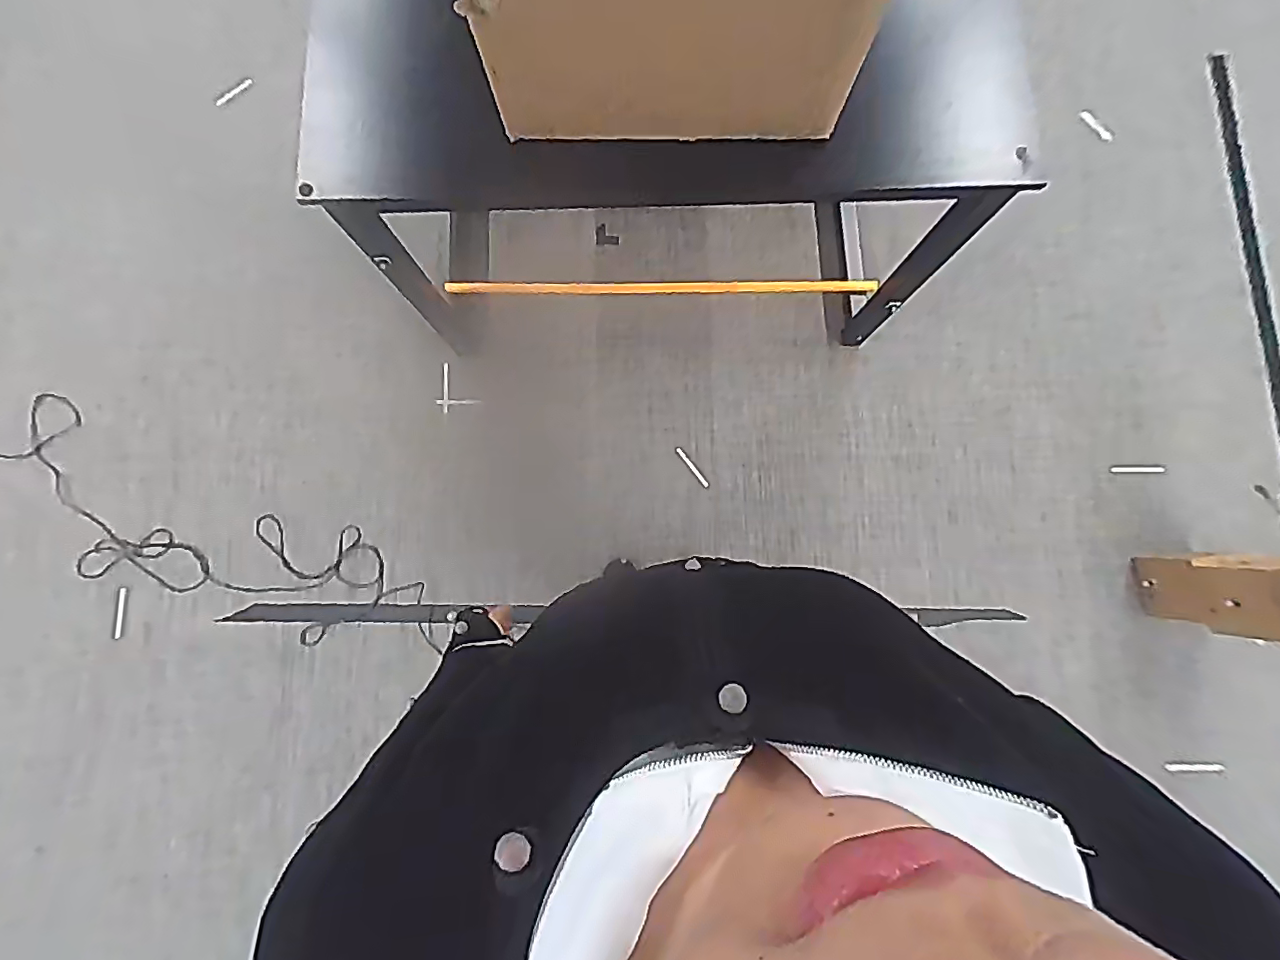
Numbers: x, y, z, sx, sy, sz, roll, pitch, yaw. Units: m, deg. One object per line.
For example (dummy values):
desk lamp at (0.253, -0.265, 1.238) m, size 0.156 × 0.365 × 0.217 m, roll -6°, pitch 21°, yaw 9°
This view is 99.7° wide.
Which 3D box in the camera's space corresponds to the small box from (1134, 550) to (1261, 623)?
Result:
small box at (1.465, 0.273, 1.413) m, size 0.179 × 0.176 × 0.168 m, roll -7°, pitch 82°, yaw 1°

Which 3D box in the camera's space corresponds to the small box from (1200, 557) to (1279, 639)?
small box at (1.464, 0.269, 1.249) m, size 0.179 × 0.176 × 0.168 m, roll -8°, pitch 82°, yaw 0°
